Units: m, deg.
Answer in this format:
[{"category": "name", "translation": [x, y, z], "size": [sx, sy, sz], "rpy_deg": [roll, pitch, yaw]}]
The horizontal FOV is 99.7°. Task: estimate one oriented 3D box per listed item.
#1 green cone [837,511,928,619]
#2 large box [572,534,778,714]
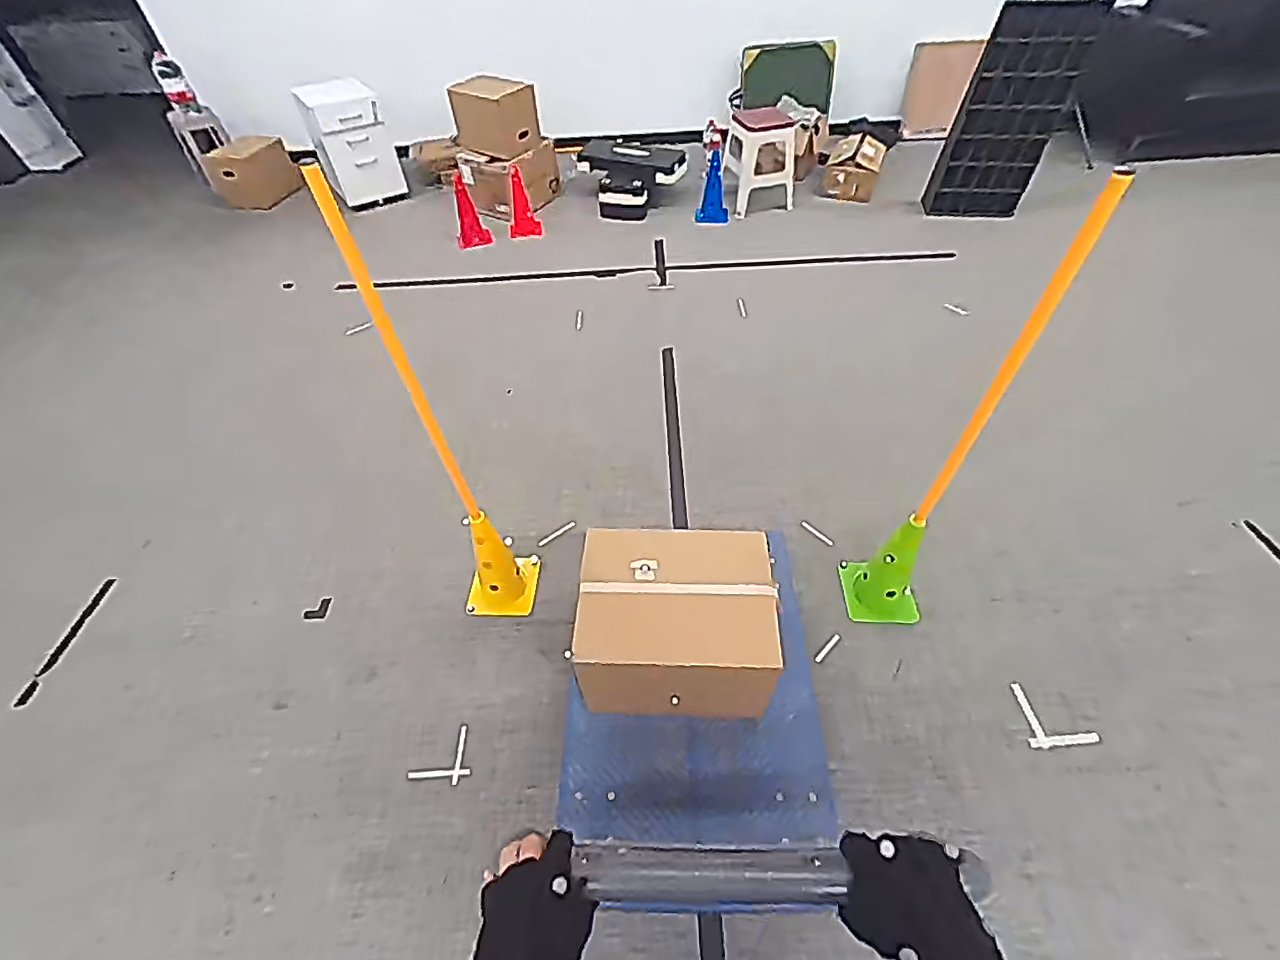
[{"category": "green cone", "translation": [0.708, 0.214, 1.503], "size": [0.202, 0.368, 0.200], "rpy_deg": [1, 49, 2]}, {"category": "large box", "translation": [0.079, 0.335, 1.243], "size": [0.408, 0.320, 0.320], "rpy_deg": [0, 50, 4]}]
